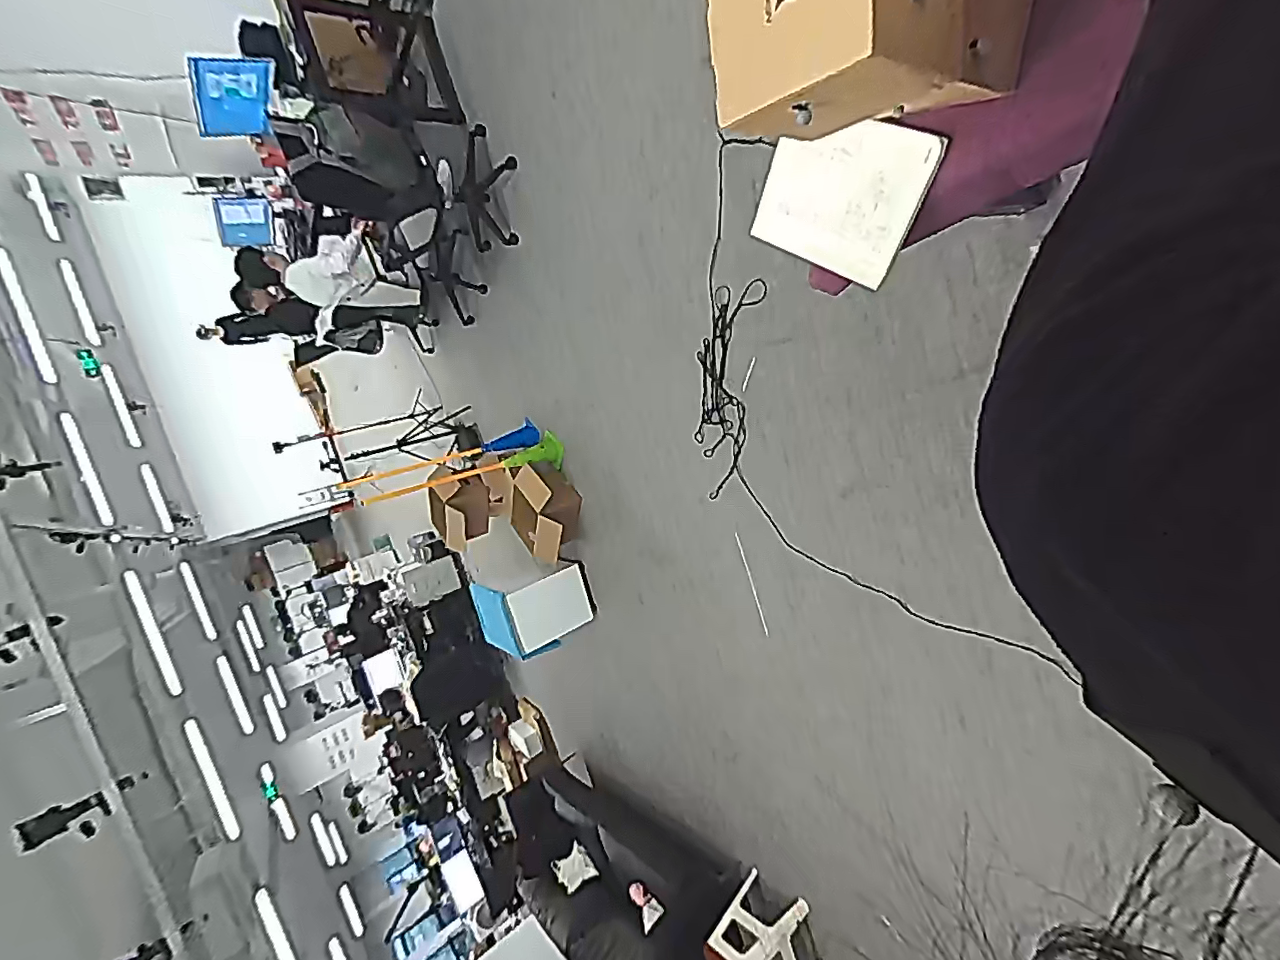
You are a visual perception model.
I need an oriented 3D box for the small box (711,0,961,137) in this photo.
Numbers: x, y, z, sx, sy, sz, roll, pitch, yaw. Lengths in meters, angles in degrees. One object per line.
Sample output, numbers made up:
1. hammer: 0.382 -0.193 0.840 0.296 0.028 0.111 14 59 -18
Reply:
1. small box: 0.192 -0.455 0.524 0.179 0.176 0.168 14 118 52
